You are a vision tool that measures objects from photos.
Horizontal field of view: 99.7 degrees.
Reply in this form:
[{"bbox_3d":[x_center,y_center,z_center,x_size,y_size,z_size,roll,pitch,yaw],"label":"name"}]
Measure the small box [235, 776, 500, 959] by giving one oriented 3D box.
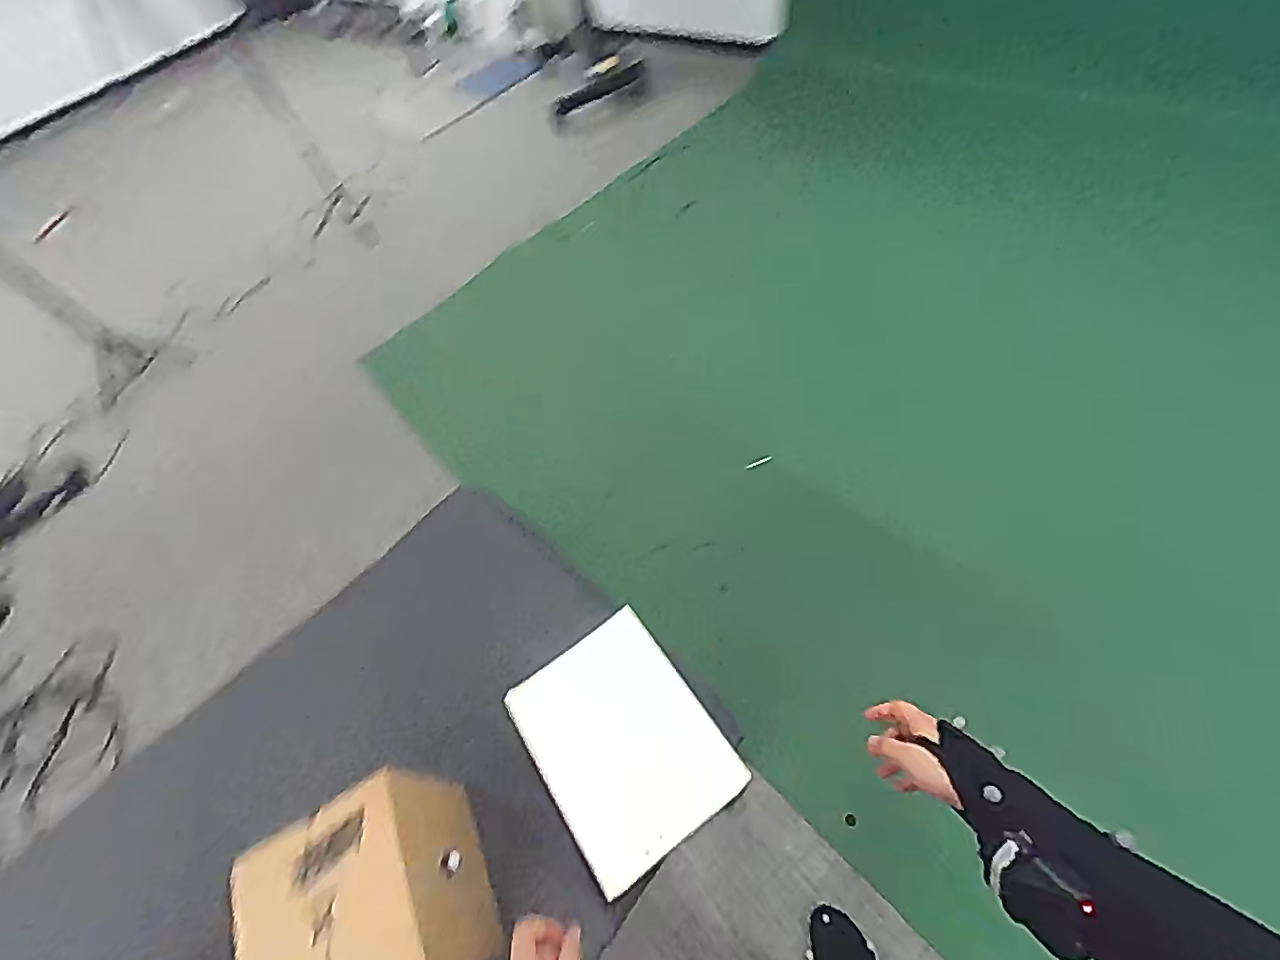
[{"bbox_3d":[-0.272,0.443,0.558,0.168,0.176,0.179,-32,55,-7],"label":"small box"}]
